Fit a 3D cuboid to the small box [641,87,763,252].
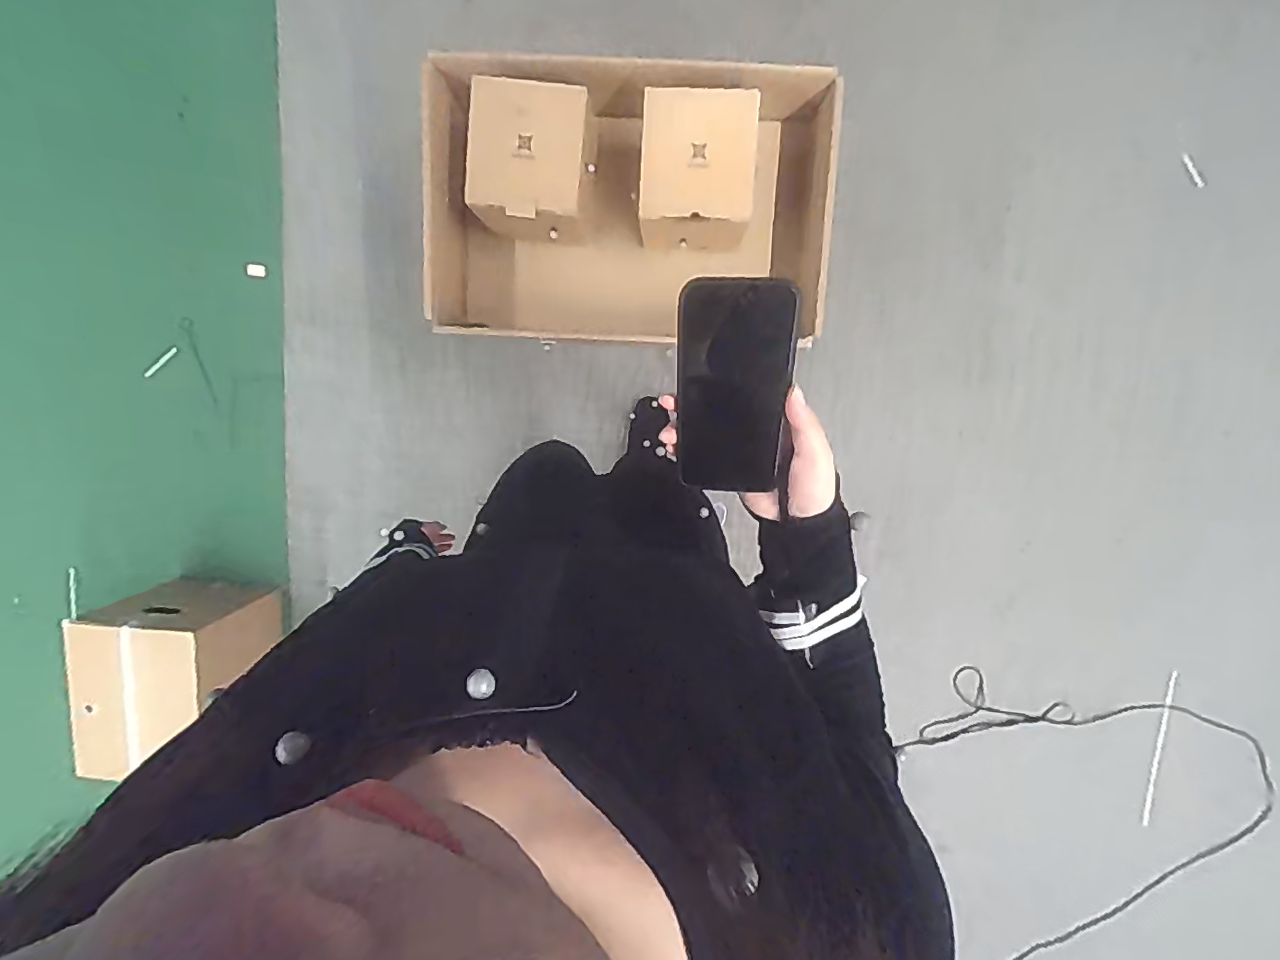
[{"bbox_3d":[0.090,-0.474,0.848,0.168,0.176,0.179,3,100,2],"label":"small box"}]
